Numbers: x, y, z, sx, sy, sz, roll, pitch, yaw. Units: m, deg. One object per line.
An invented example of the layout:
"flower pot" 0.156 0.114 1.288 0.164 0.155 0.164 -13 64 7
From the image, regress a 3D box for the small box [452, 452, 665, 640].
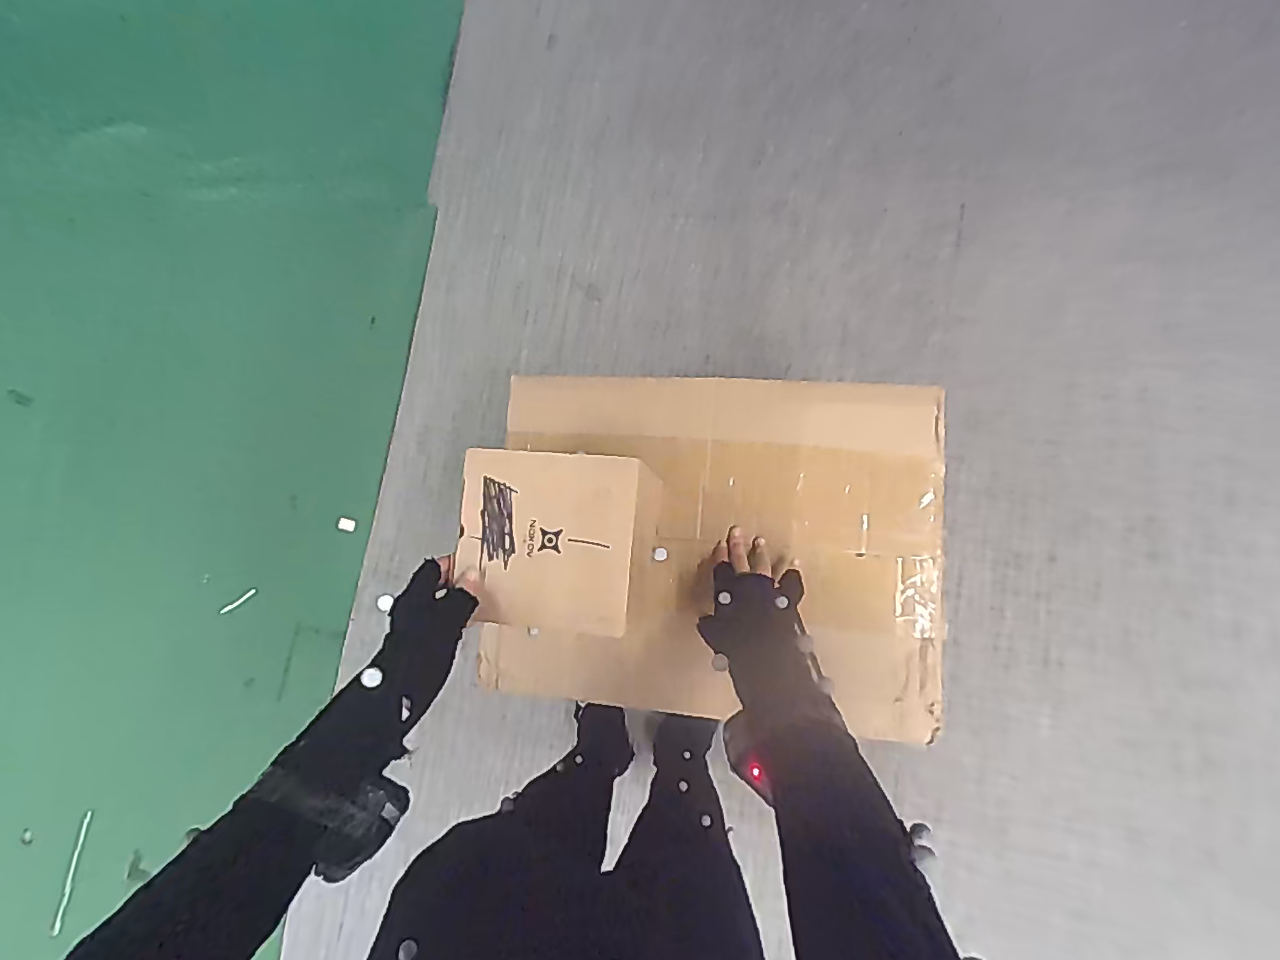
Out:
"small box" -0.074 0.070 0.586 0.179 0.176 0.168 4 83 10
